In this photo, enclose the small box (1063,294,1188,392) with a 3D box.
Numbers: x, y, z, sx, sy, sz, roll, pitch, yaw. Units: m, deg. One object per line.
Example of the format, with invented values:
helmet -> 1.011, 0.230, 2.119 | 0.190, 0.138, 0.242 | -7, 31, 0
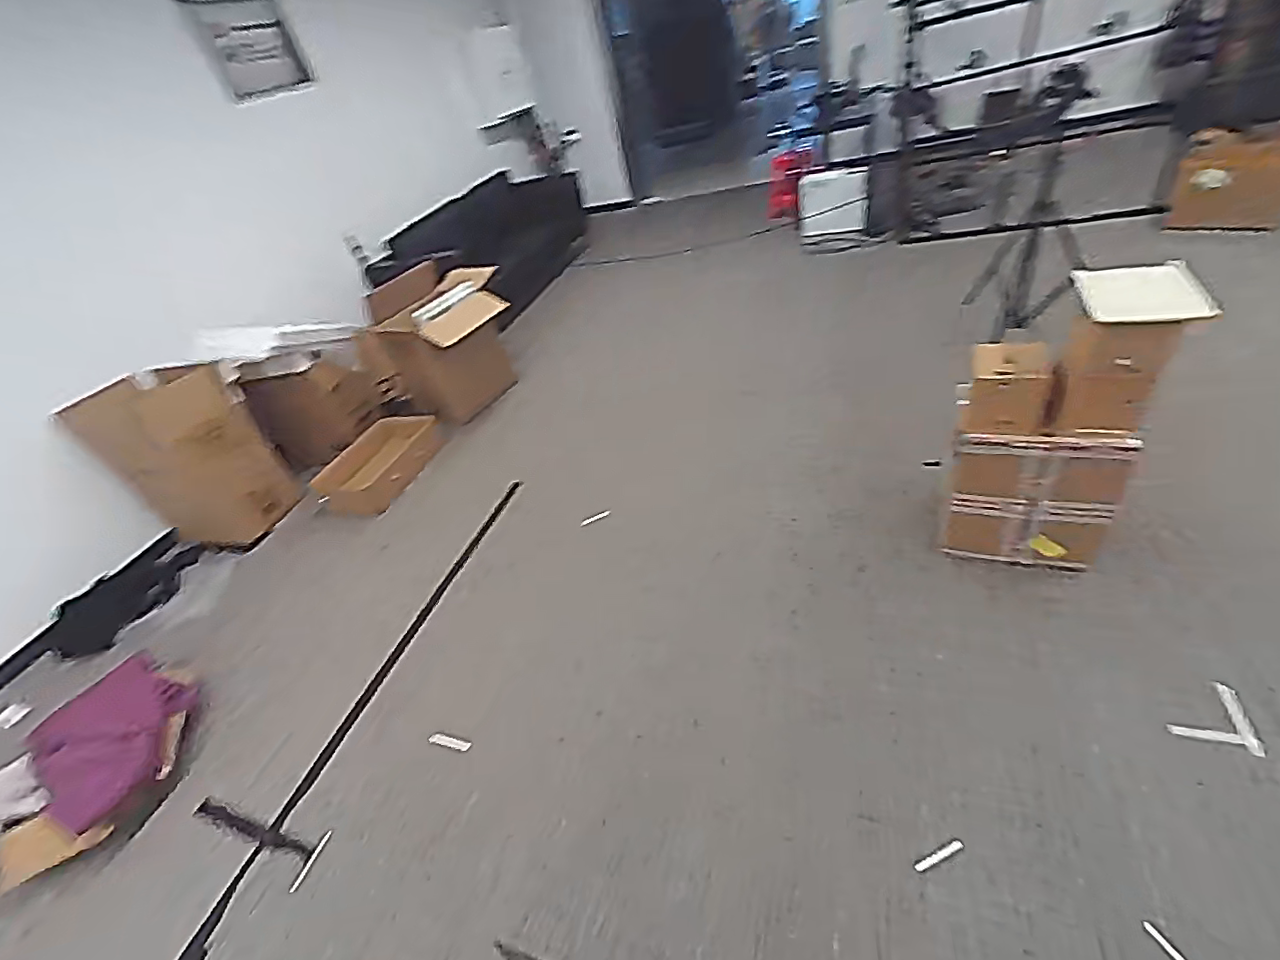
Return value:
small box -> 1.159, -0.332, 1.308 | 0.168, 0.176, 0.179 | 5, 45, 22
